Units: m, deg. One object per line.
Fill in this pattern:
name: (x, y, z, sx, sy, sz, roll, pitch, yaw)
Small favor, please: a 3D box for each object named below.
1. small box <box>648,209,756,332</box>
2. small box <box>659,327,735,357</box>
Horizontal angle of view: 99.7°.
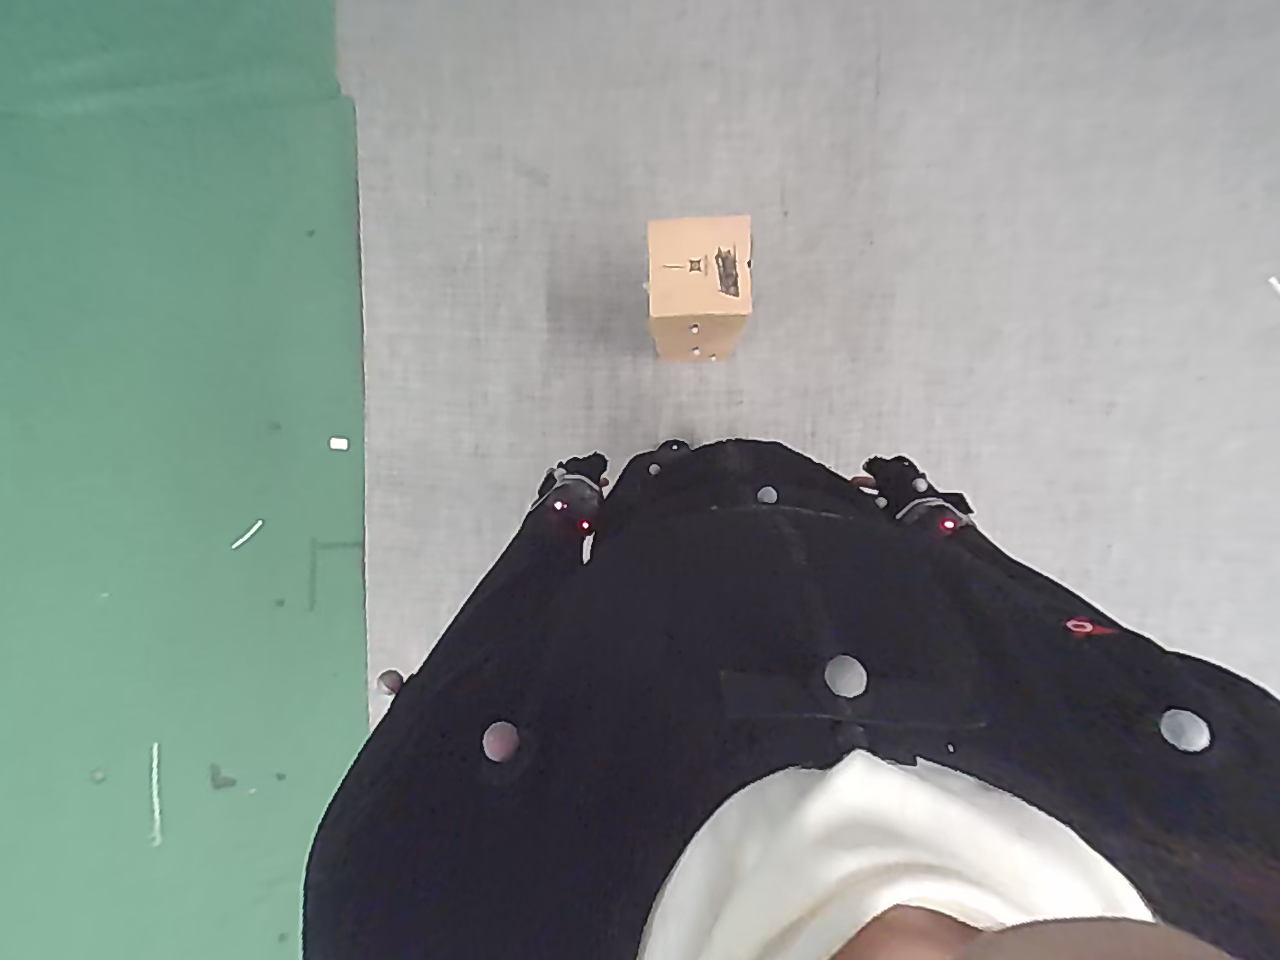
small box: (0.109, -0.375, 0.993, 0.179, 0.176, 0.168, 3, 92, 4)
small box: (0.139, -0.398, 1.322, 0.179, 0.176, 0.168, 0, 93, 6)
